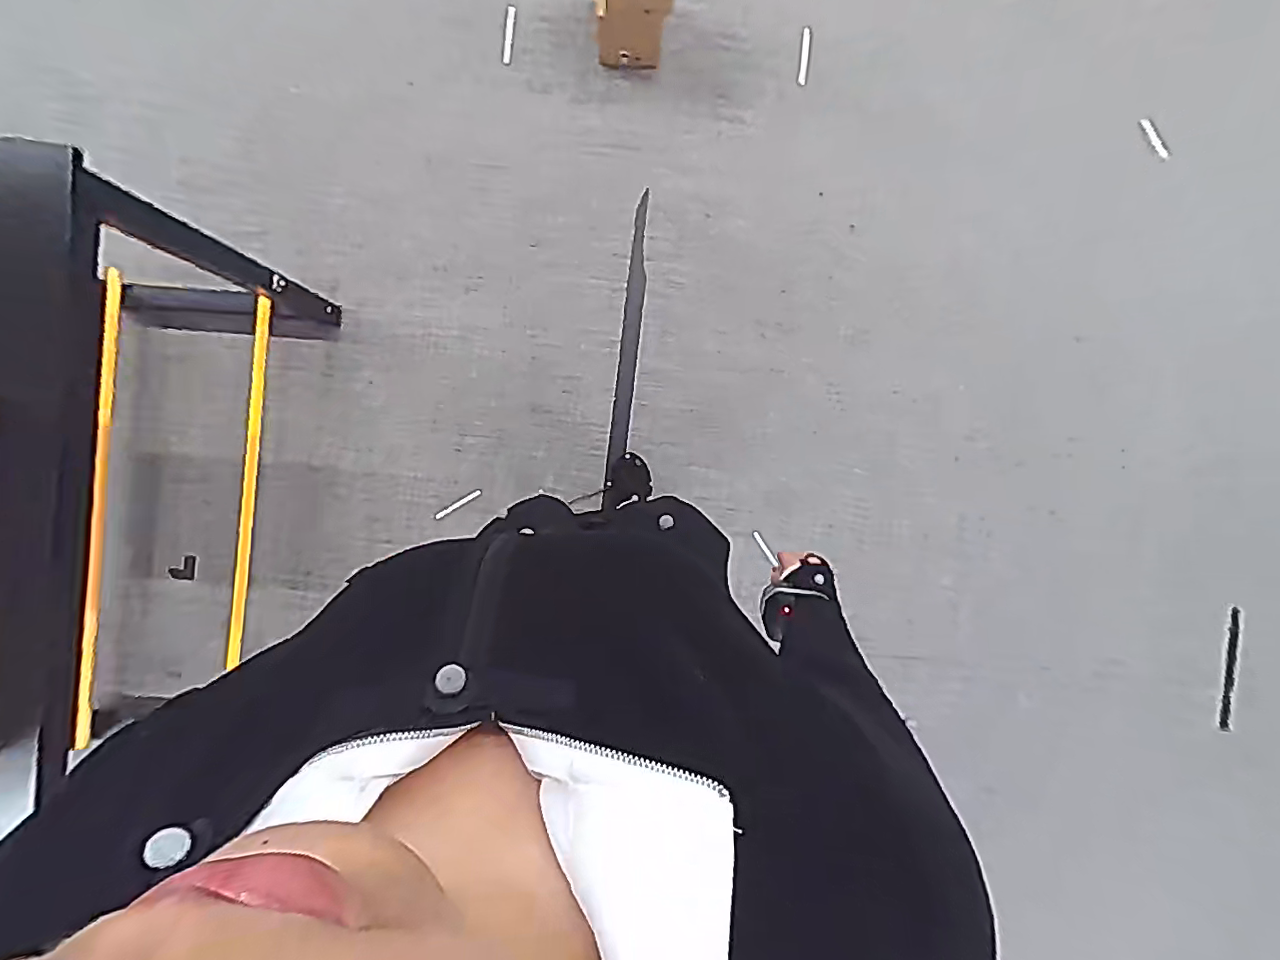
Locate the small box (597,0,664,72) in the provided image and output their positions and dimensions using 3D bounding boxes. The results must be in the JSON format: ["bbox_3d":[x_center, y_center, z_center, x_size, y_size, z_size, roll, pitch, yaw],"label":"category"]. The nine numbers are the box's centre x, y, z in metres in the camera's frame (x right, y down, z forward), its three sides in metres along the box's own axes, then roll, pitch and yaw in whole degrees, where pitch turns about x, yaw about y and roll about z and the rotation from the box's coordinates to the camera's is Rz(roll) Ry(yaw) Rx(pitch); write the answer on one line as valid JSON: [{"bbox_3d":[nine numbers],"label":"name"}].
[{"bbox_3d":[-0.026,-1.193,1.380,0.168,0.176,0.179,-1,93,-1],"label":"small box"}]

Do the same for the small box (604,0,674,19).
[{"bbox_3d":[-0.003,-1.186,1.217,0.168,0.176,0.179,-2,92,-1],"label":"small box"}]
